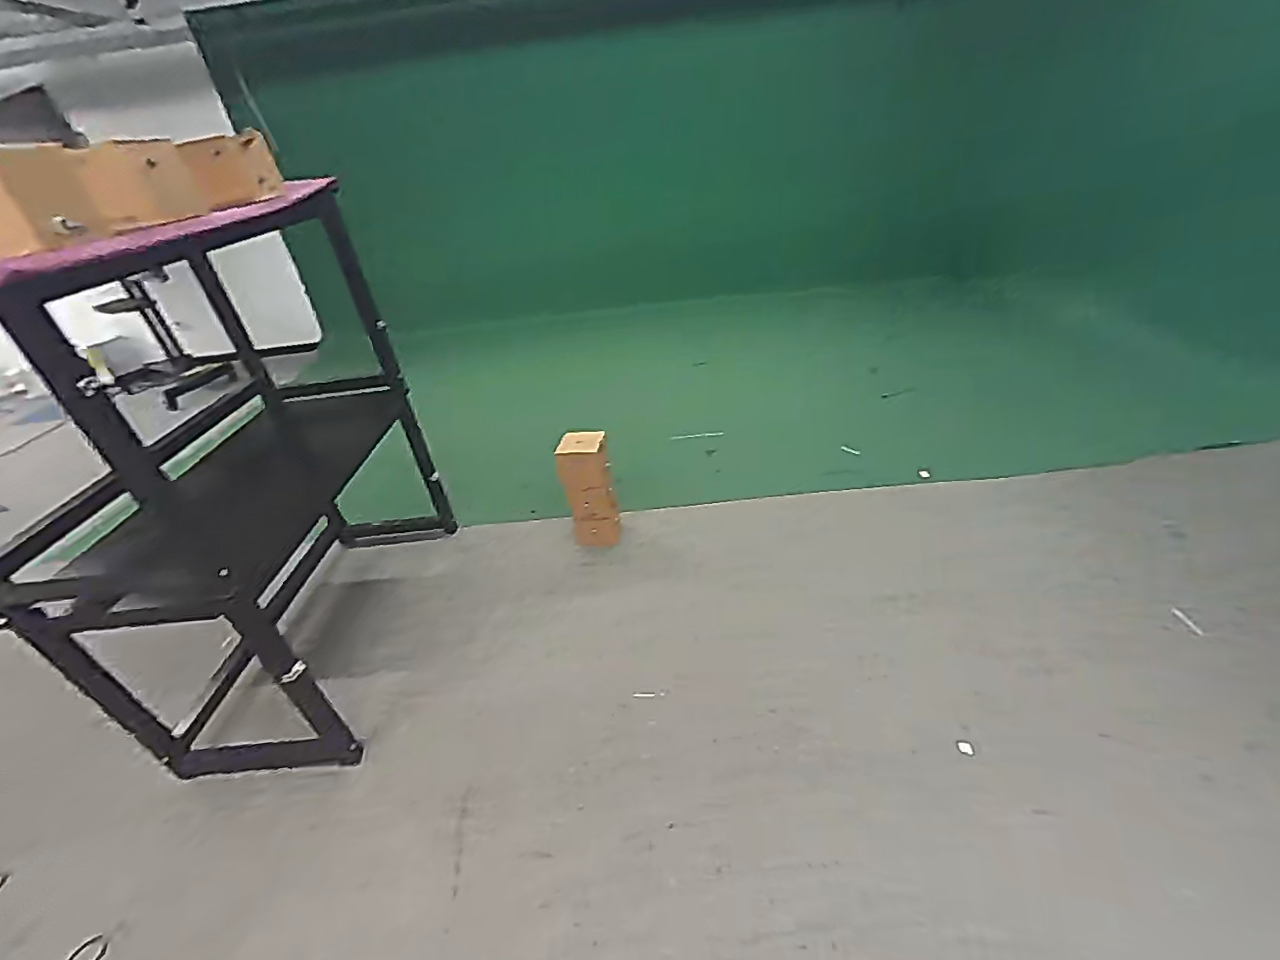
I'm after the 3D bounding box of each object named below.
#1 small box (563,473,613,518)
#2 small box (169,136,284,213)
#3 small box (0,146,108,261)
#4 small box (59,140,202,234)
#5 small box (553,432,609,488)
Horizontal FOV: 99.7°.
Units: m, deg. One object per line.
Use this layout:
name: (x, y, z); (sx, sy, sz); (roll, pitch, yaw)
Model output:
small box: (-0.215, 0.051, 2.313); (0.168, 0.176, 0.179); (-3, 34, 9)
small box: (-1.198, -0.889, 1.575); (0.179, 0.176, 0.168); (-6, 35, 6)
small box: (-1.158, -0.498, 0.983); (0.179, 0.176, 0.168); (-7, 34, -1)
small box: (-1.200, -0.688, 1.276); (0.168, 0.176, 0.179); (-7, 33, 4)
small box: (-0.235, -0.079, 2.210); (0.179, 0.176, 0.168); (-1, 34, 11)
